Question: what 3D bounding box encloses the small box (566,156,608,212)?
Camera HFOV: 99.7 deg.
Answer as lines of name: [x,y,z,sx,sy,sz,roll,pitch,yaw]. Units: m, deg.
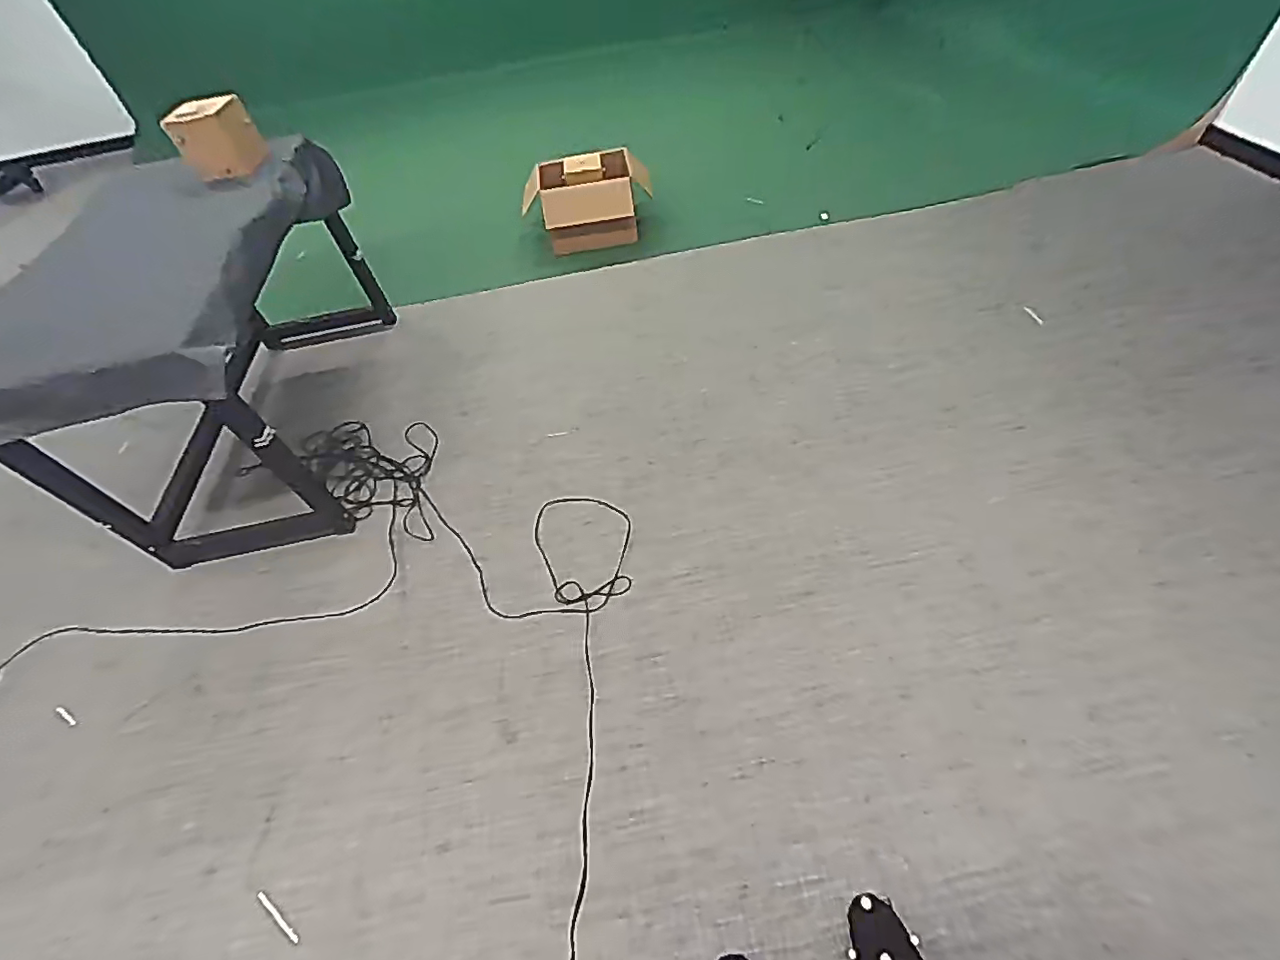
small box: [-0.241,-1.347,2.462,0.168,0.176,0.179,-8,51,1]
